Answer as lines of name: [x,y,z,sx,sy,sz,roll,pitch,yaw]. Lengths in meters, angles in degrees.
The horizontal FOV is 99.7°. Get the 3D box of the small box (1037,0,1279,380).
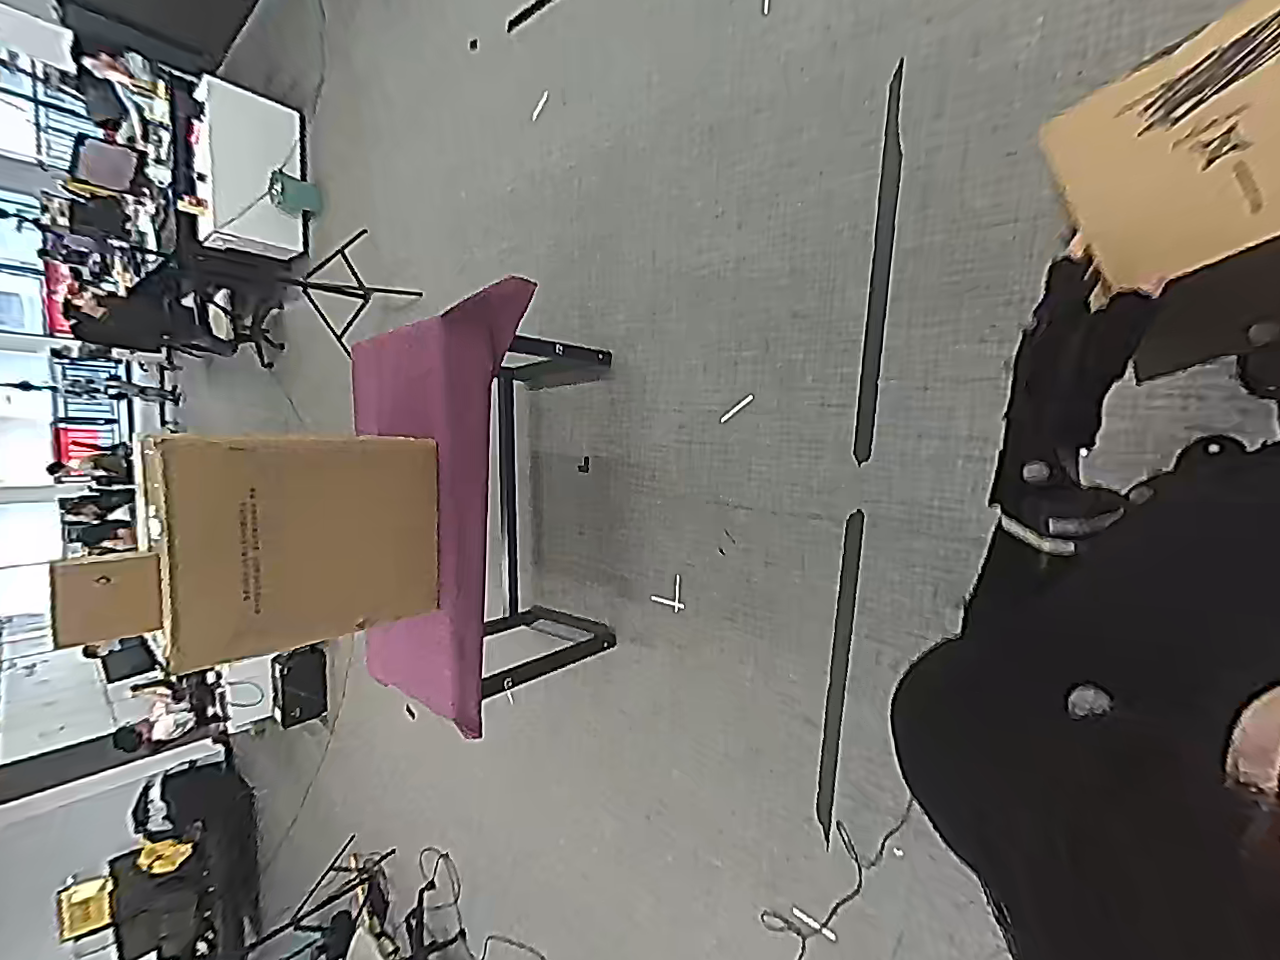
small box: [0.445,-0.208,0.416,0.168,0.176,0.179,-26,57,40]

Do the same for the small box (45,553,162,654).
small box: [-1.183,0.261,1.194,0.168,0.176,0.179,-3,91,42]
